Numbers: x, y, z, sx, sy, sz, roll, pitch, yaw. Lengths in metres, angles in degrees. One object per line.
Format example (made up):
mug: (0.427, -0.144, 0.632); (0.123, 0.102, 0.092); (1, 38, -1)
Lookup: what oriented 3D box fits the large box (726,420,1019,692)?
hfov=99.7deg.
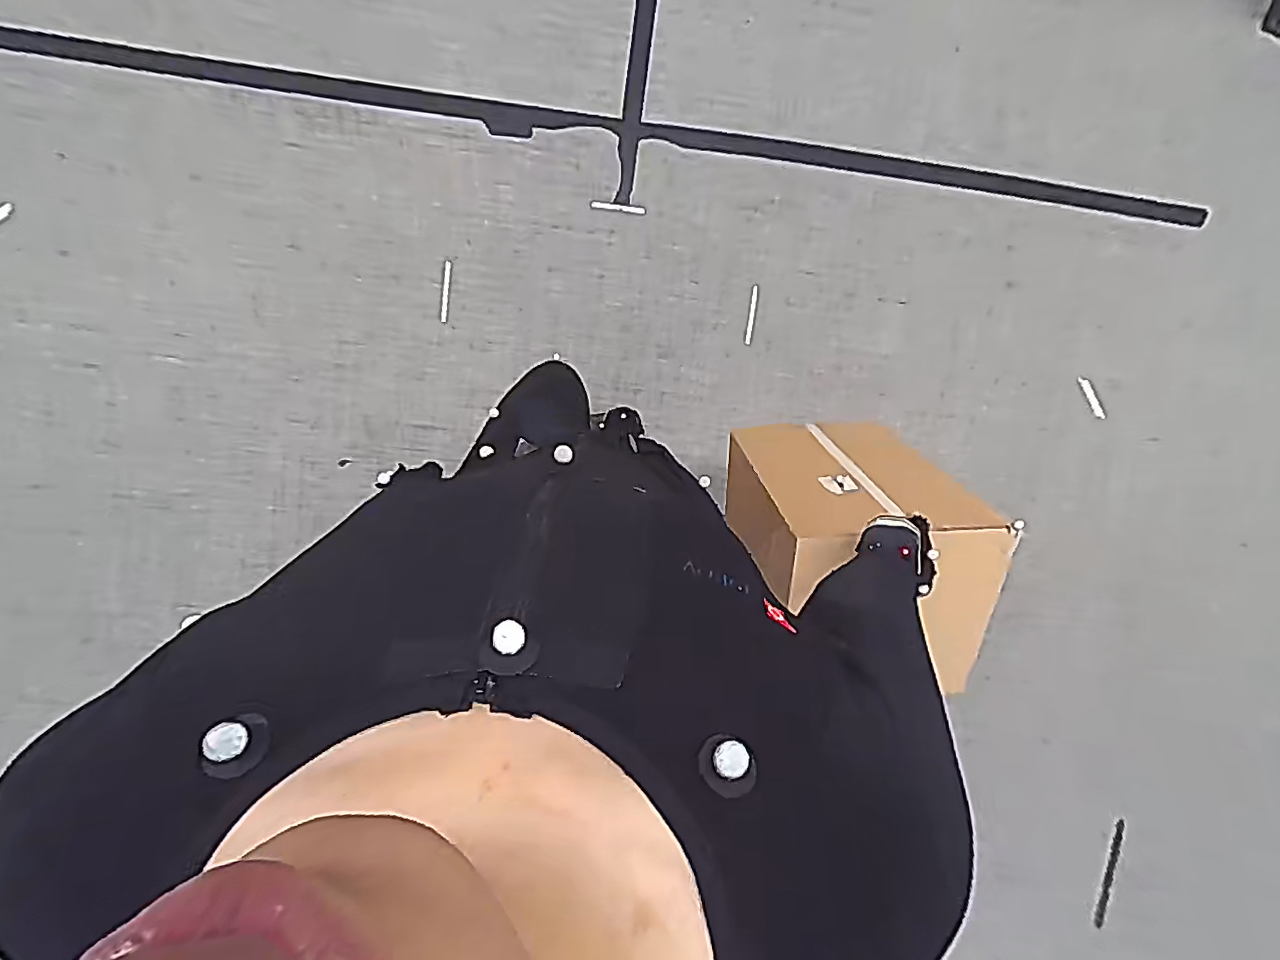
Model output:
large box: (0.358, 0.111, 0.979); (0.320, 0.408, 0.320); (-4, 119, -3)
